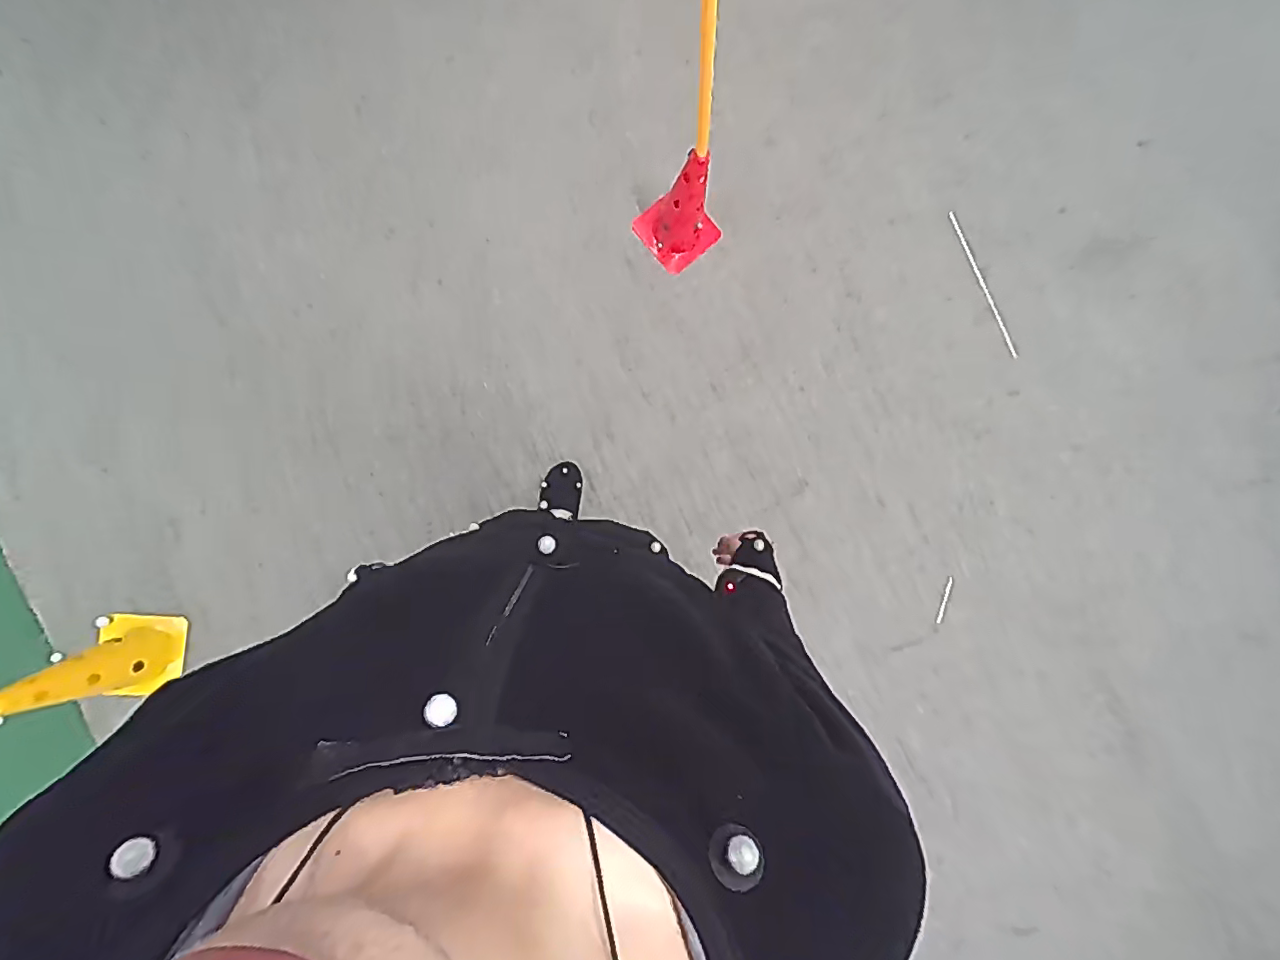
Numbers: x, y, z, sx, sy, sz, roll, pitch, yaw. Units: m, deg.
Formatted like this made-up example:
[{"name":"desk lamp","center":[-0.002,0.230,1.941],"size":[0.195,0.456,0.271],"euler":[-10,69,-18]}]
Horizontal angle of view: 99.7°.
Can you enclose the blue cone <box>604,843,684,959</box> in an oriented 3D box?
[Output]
[{"name":"blue cone","center":[0.038,1.083,1.299],"size":[0.193,0.380,0.192],"euler":[21,85,-8]}]
